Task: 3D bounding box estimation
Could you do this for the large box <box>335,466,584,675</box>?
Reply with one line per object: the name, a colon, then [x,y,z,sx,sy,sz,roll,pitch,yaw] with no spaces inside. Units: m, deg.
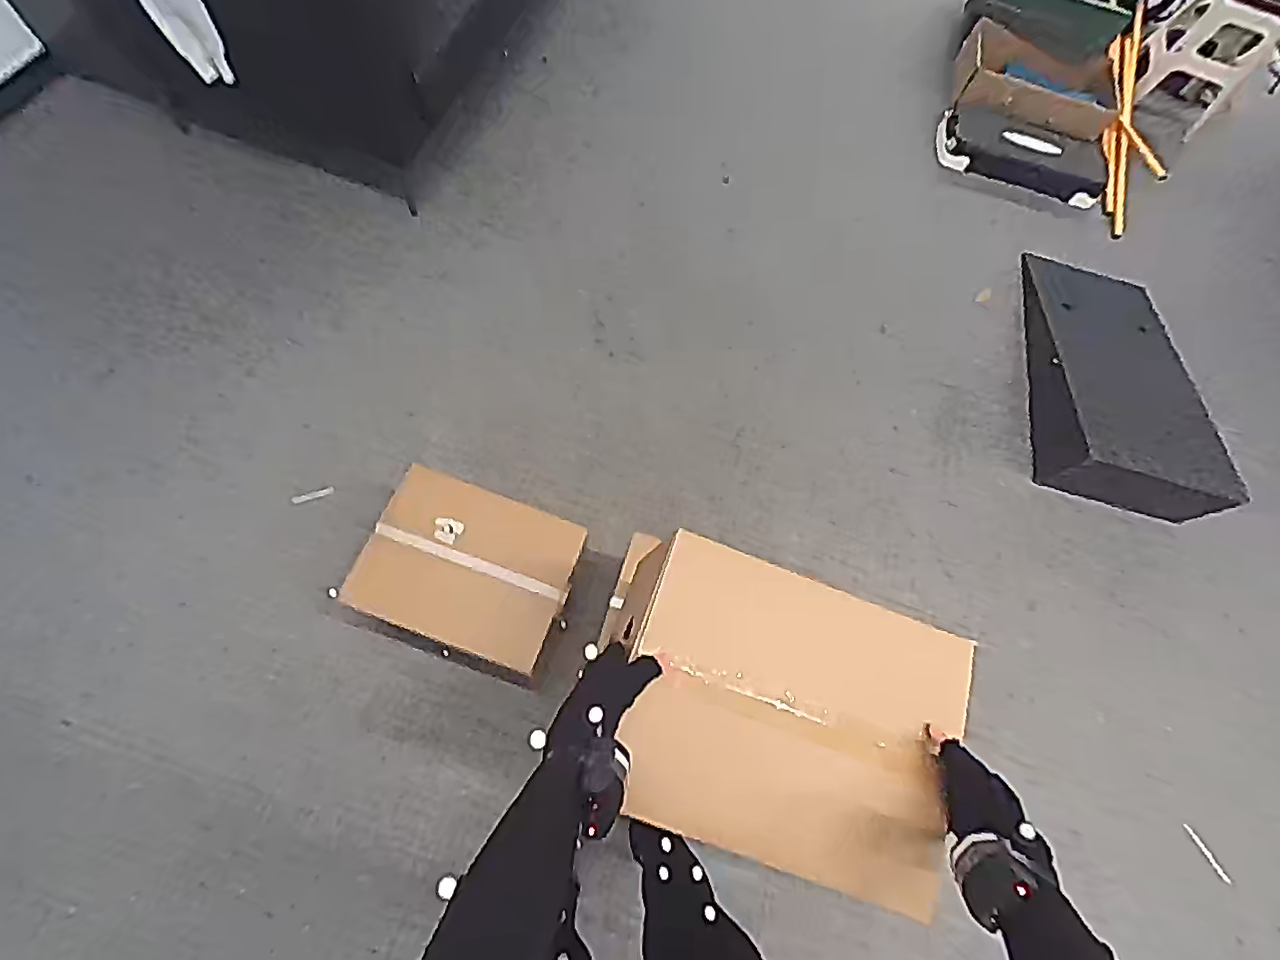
large box: [-0.362,0.219,1.218,0.408,0.320,0.320,20,66,2]
